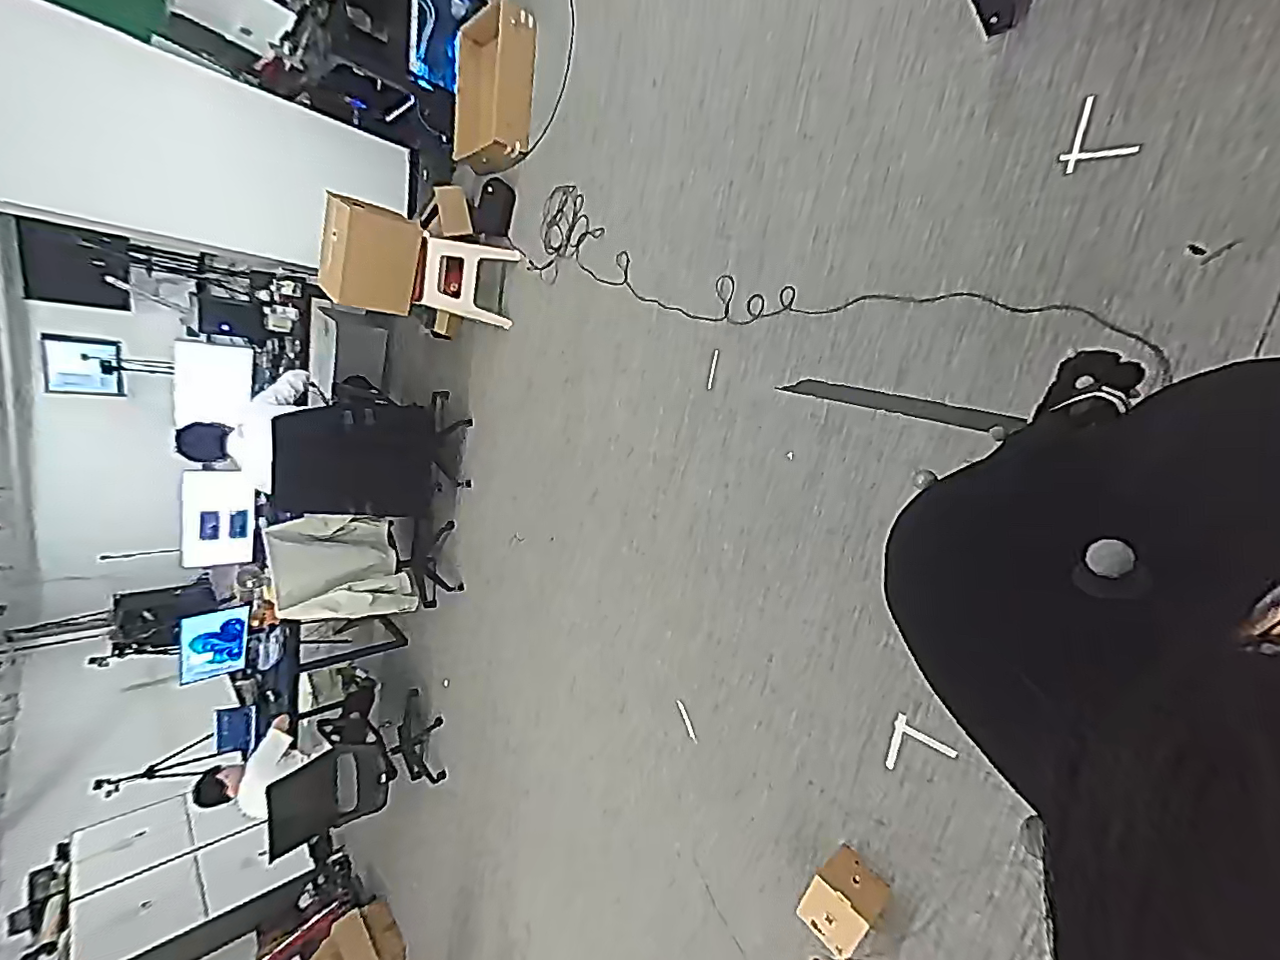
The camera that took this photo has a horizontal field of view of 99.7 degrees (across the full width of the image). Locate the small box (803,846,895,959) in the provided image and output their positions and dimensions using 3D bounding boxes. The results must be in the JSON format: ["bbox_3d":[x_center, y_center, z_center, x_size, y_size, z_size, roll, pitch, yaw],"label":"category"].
[{"bbox_3d":[0.608,1.213,1.559,0.168,0.176,0.179,33,114,39],"label":"small box"}]
